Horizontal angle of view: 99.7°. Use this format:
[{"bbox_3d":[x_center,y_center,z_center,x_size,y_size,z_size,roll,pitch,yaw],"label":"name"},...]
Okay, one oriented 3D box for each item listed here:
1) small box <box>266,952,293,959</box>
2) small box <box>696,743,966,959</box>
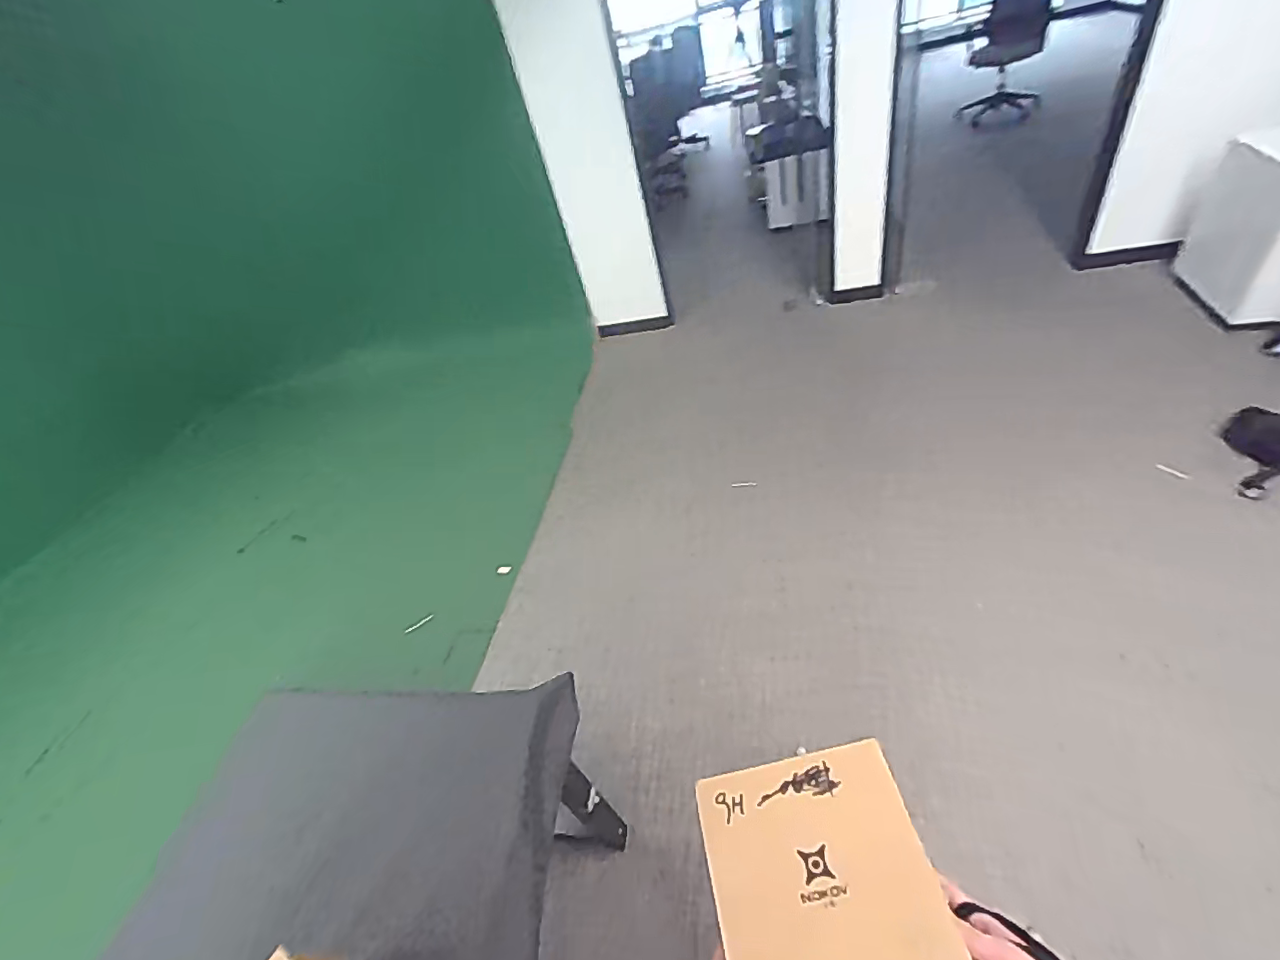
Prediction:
[{"bbox_3d":[-0.369,0.661,0.575,0.179,0.176,0.168,15,49,33],"label":"small box"},{"bbox_3d":[0.155,0.358,0.465,0.168,0.176,0.179,-14,44,5],"label":"small box"}]
